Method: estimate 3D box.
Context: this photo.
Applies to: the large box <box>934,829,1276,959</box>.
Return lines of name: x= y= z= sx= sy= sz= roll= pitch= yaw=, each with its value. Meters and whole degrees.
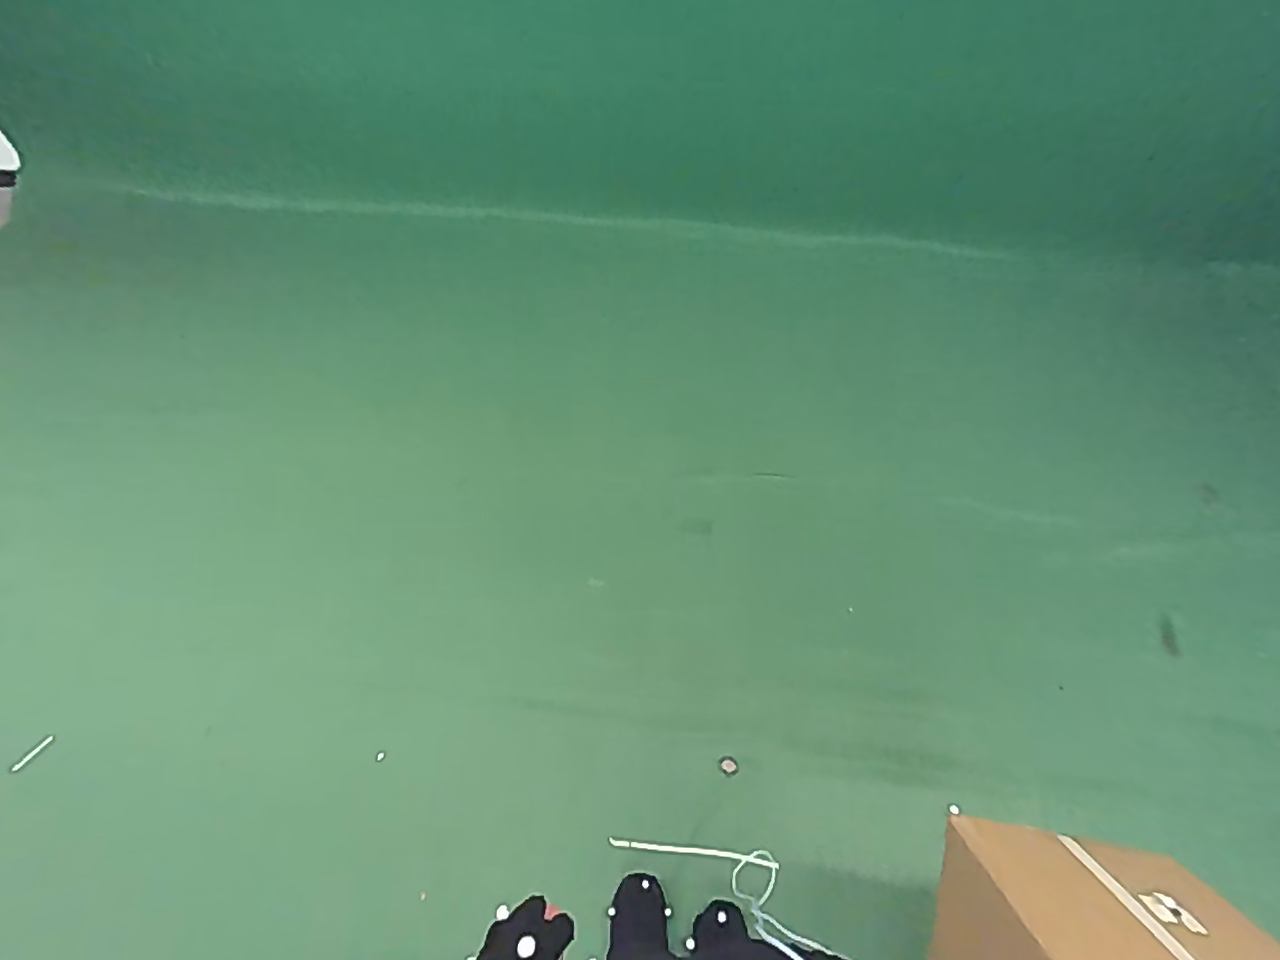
large box: x=0.572 y=0.691 z=0.604 sx=0.320 sy=0.408 sz=0.320 roll=8 pitch=89 yaw=8
